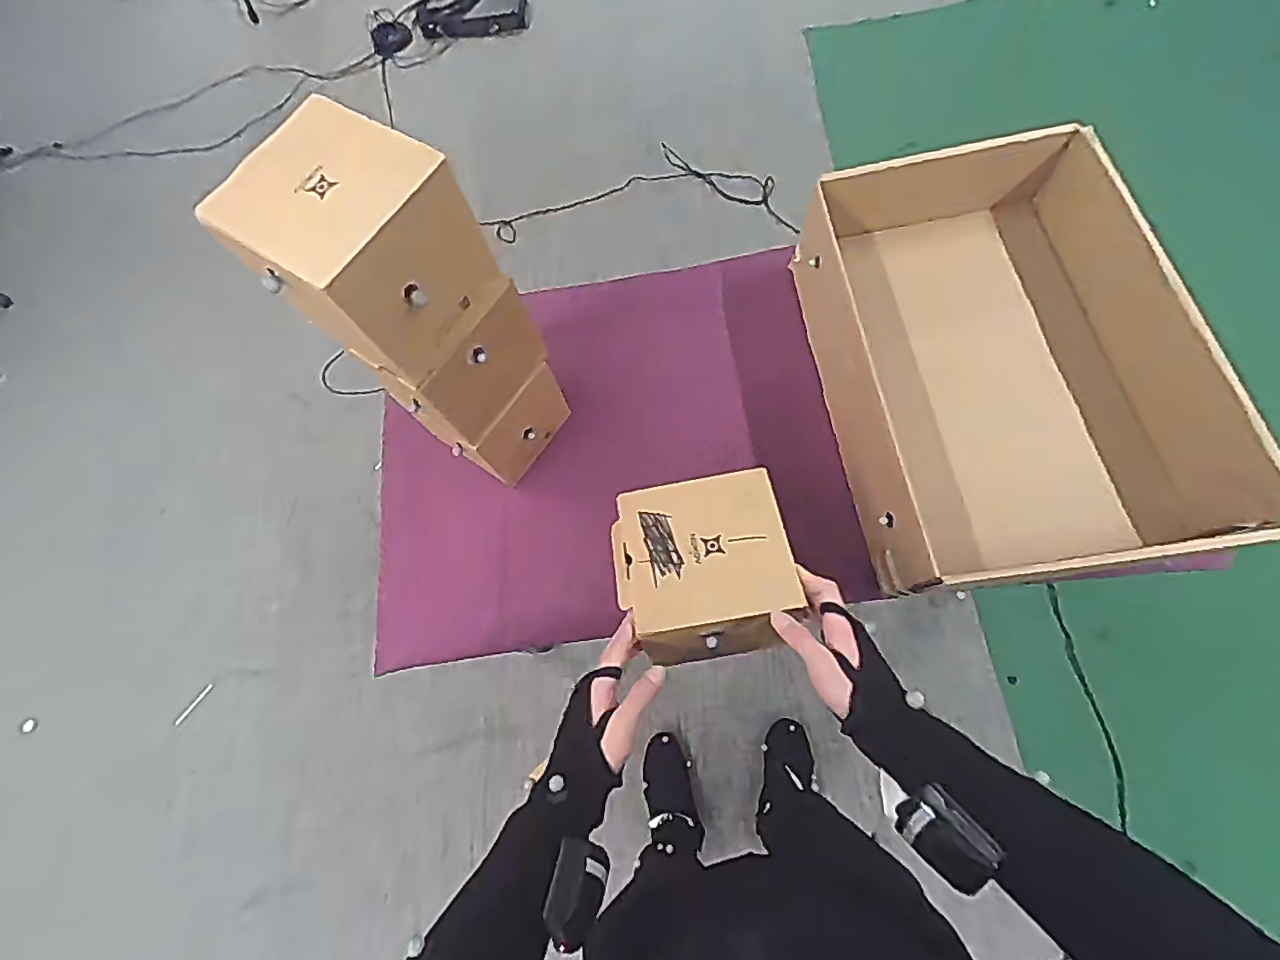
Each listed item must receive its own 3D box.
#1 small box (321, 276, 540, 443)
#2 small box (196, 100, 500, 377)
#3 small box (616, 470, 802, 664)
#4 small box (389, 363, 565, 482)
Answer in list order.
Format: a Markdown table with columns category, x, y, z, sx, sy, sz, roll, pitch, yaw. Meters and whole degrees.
| category | x | y | z | sx | sy | sz | roll | pitch | yaw |
| --- | --- | --- | --- | --- | --- | --- | --- | --- | --- |
| small box | -0.254 | -0.176 | 0.706 | 0.168 | 0.176 | 0.179 | 33 | 76 | 15 |
| small box | -0.276 | -0.231 | 0.555 | 0.179 | 0.176 | 0.168 | 31 | 77 | 15 |
| small box | 0.078 | 0.112 | 0.647 | 0.179 | 0.176 | 0.168 | -11 | 60 | 2 |
| small box | -0.243 | -0.116 | 0.857 | 0.179 | 0.176 | 0.168 | 32 | 76 | 16 |
